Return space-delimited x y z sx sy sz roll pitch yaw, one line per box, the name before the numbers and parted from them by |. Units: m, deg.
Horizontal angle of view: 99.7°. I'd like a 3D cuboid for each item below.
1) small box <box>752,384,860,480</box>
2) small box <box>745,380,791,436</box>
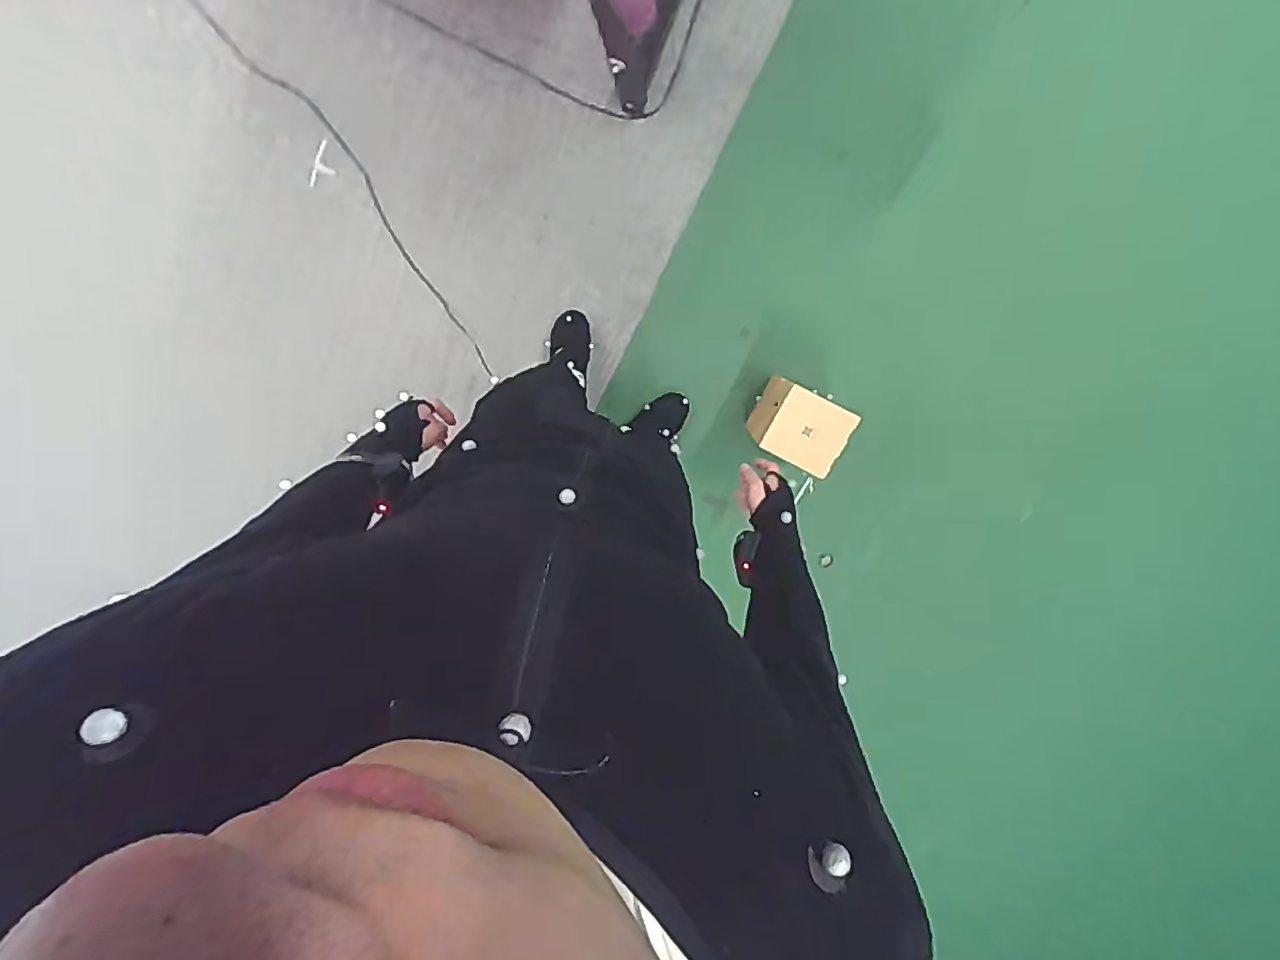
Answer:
small box | 0.392 -0.124 1.318 0.179 0.176 0.168 27 104 -3
small box | 0.407 -0.165 1.473 0.179 0.176 0.168 27 104 -2
